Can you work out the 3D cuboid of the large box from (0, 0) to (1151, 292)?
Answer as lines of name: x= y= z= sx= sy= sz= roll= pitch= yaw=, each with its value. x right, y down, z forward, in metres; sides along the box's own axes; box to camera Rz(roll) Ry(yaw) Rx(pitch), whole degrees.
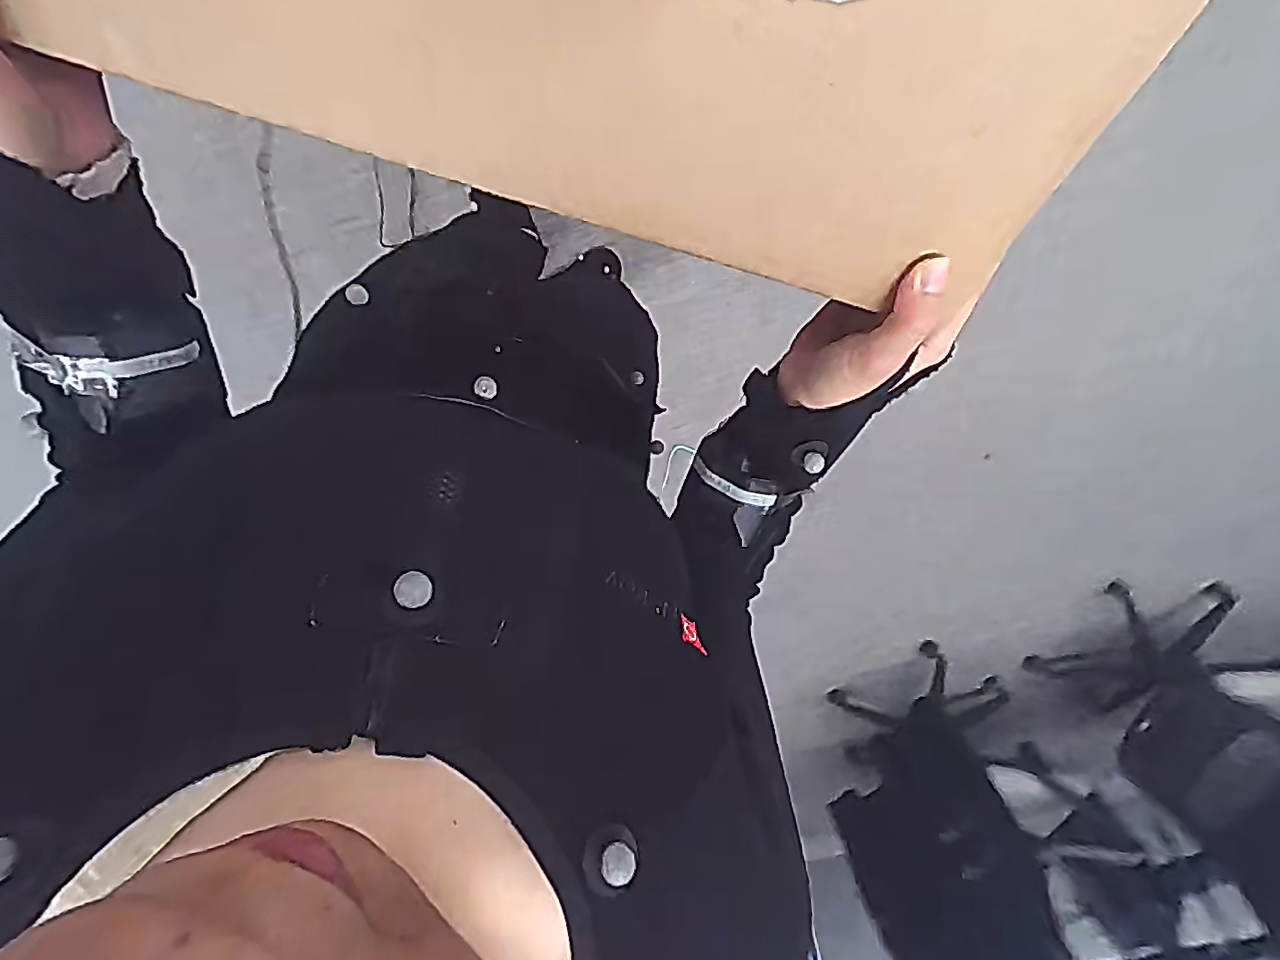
large box: x=-0.010 y=-0.331 z=0.229 sx=0.408 sy=0.320 sz=0.320 roll=10 pitch=135 yaw=-13
